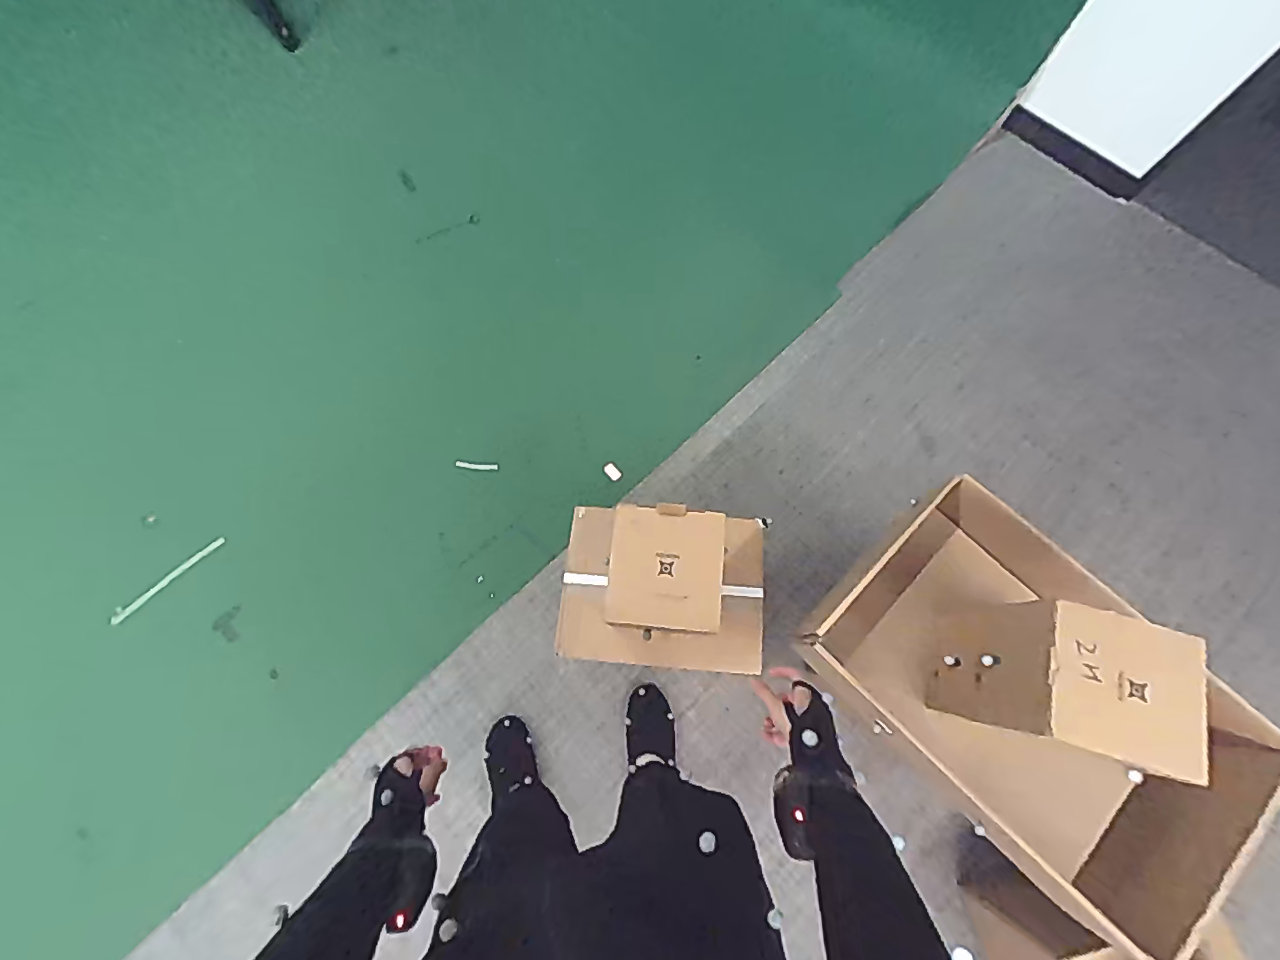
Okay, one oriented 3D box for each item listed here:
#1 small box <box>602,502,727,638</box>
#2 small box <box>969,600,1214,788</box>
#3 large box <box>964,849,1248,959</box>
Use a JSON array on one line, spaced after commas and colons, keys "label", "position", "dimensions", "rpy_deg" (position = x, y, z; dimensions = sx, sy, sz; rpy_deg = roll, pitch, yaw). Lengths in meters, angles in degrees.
[{"label": "small box", "position": [0.037, 0.146, 0.845], "dimensions": [0.168, 0.176, 0.179], "rpy_deg": [6, 73, 3]}, {"label": "small box", "position": [0.565, 0.263, 0.694], "dimensions": [0.179, 0.176, 0.168], "rpy_deg": [16, 73, 6]}, {"label": "large box", "position": [0.901, 0.999, 1.001], "dimensions": [0.320, 0.320, 0.408], "rpy_deg": [-13, 74, -4]}]
